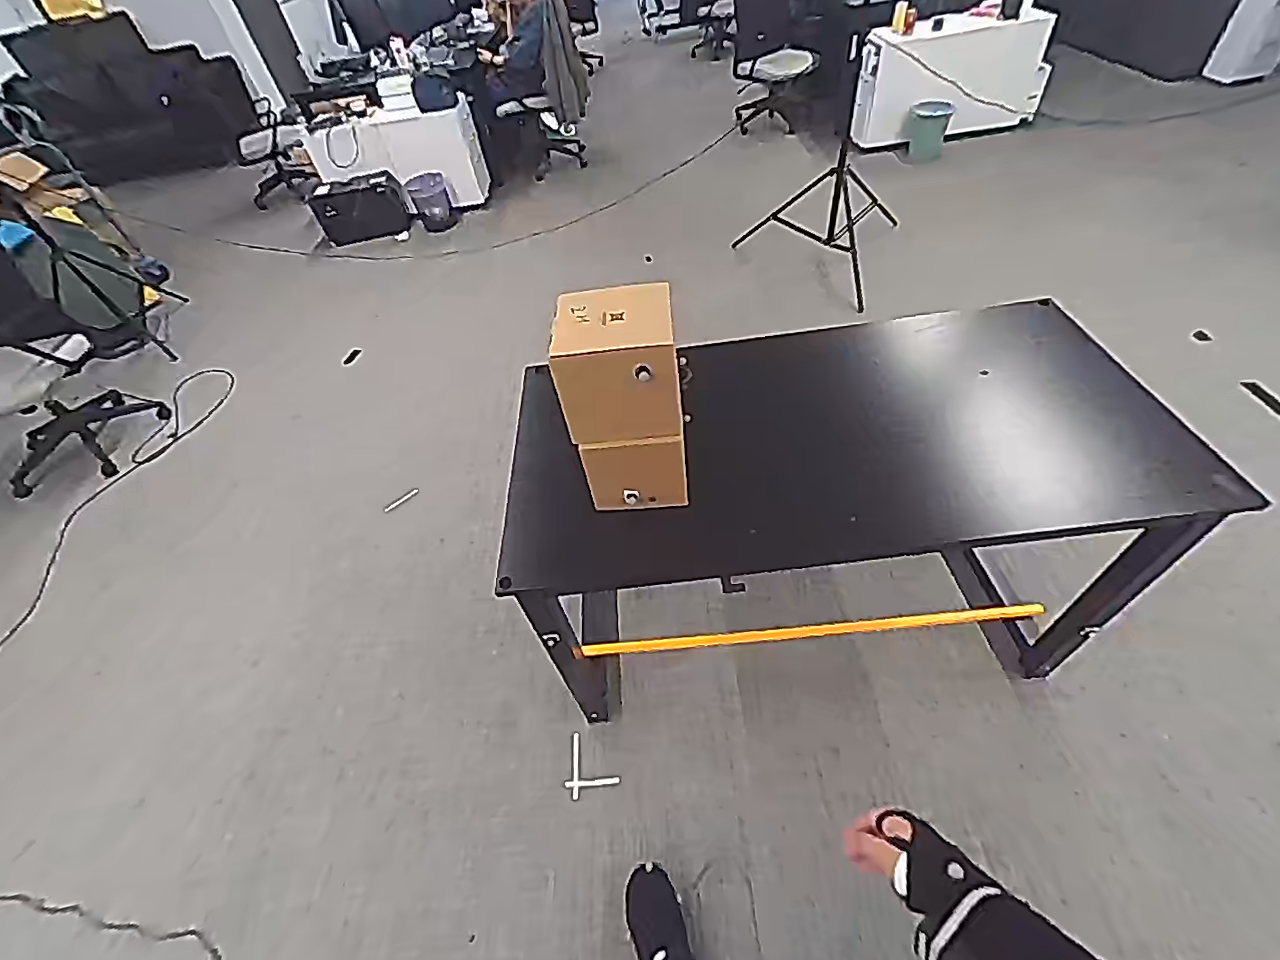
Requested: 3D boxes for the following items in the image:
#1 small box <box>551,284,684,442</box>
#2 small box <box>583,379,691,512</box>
[{"bbox_3d":[-0.024,-0.177,0.836,0.179,0.176,0.168,-5,48,6],"label":"small box"},{"bbox_3d":[0.001,-0.064,0.955,0.168,0.176,0.179,-5,49,6],"label":"small box"}]
